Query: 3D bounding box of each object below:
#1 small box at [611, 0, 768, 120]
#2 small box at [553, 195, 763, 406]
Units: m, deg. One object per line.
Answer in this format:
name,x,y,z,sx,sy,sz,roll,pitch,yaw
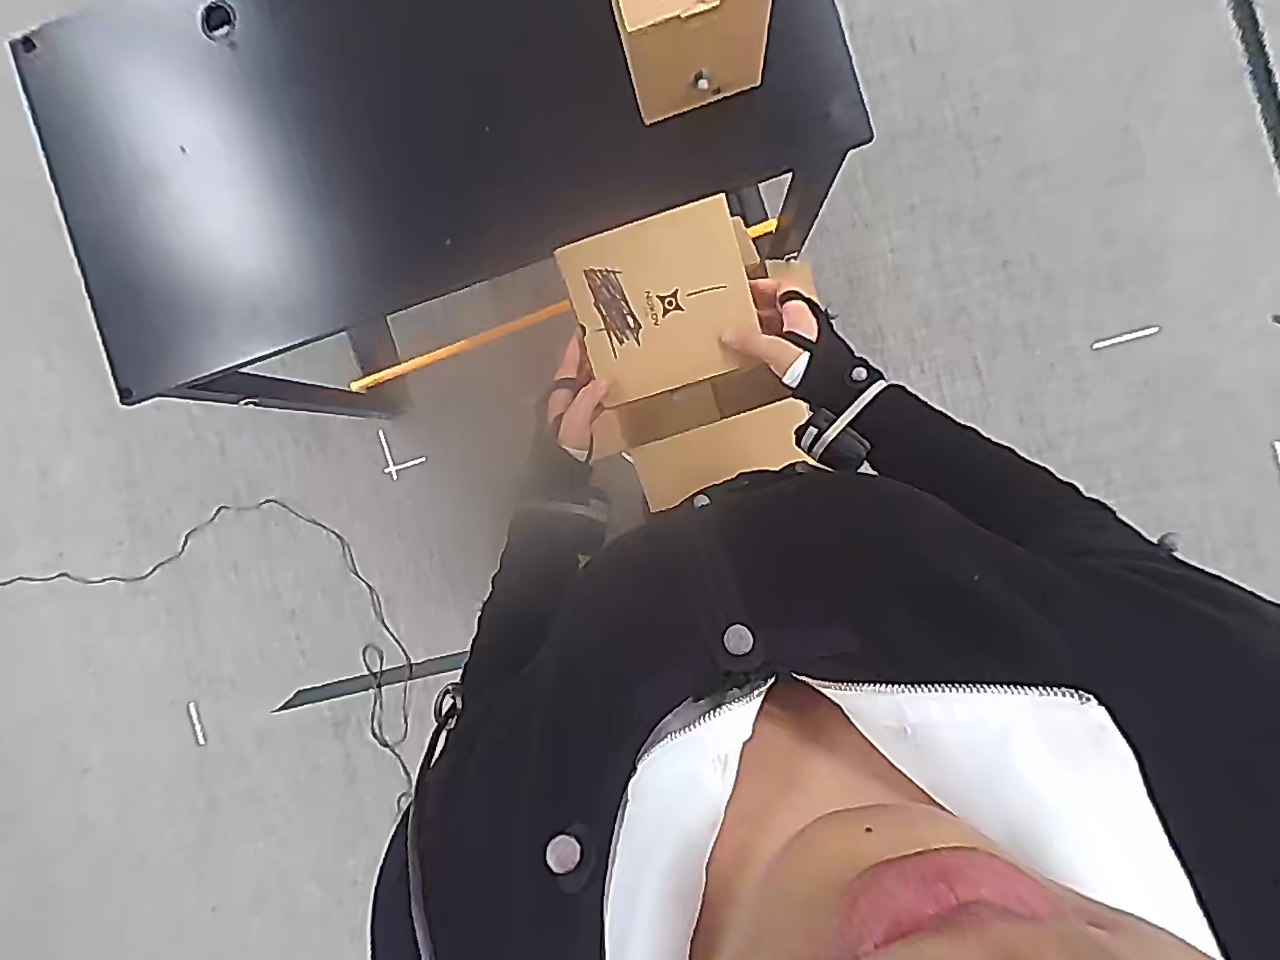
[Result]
small box,0.050,-0.597,0.662,0.168,0.176,0.179,-14,91,8
small box,0.023,-0.183,0.610,0.179,0.176,0.168,-16,97,5
